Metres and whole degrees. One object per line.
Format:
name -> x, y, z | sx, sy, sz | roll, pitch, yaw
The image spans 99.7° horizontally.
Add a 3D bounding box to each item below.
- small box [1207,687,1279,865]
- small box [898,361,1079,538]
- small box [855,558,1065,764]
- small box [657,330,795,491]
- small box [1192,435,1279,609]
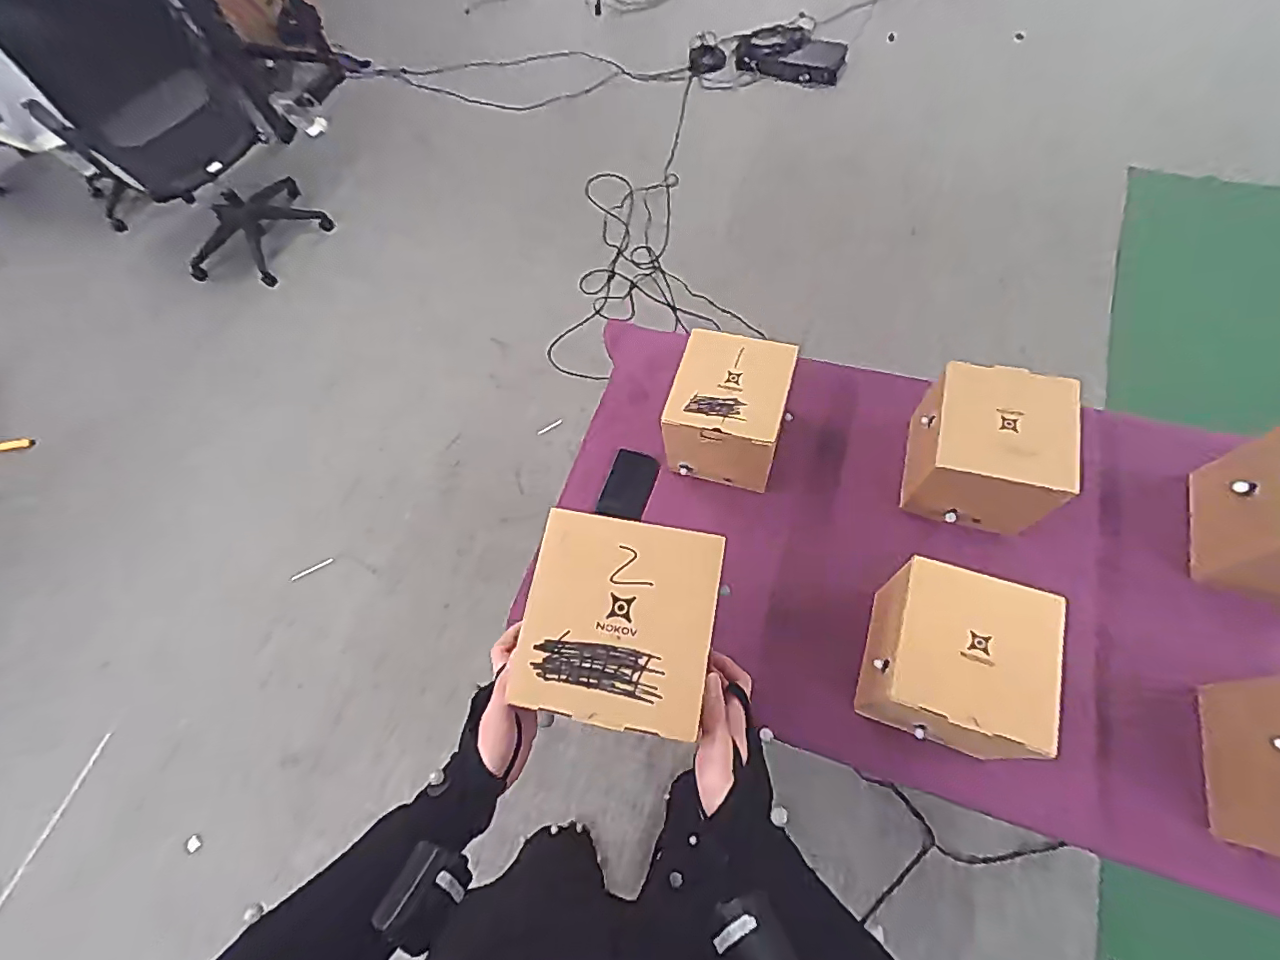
small box -> 0.748, 0.323, 0.559 | 0.168, 0.176, 0.179 | 13, 67, 15
small box -> 0.488, -0.039, 0.777 | 0.168, 0.176, 0.179 | 14, 67, 15
small box -> 0.378, 0.223, 0.662 | 0.168, 0.176, 0.179 | 16, 67, 15
small box -> 0.137, -0.104, 0.853 | 0.168, 0.176, 0.179 | 14, 67, 14
small box -> 0.852, 0.057, 0.680 | 0.168, 0.176, 0.179 | 16, 67, 16
